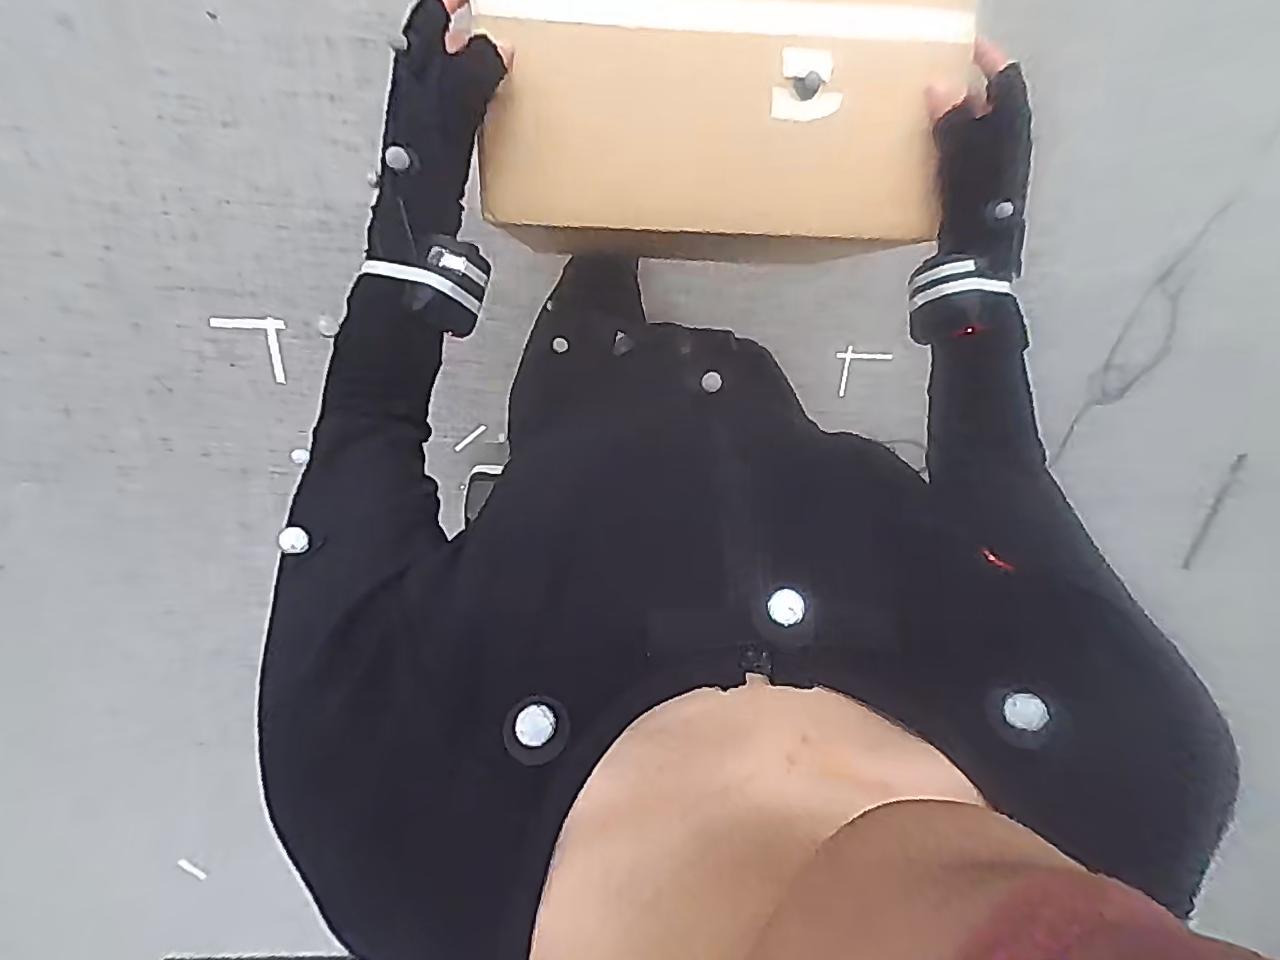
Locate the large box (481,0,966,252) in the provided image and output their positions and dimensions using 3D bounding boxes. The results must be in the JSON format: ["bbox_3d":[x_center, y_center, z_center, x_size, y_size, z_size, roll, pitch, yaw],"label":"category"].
[{"bbox_3d":[0.060,-0.426,0.579,0.408,0.320,0.320,0,109,-4],"label":"large box"}]
